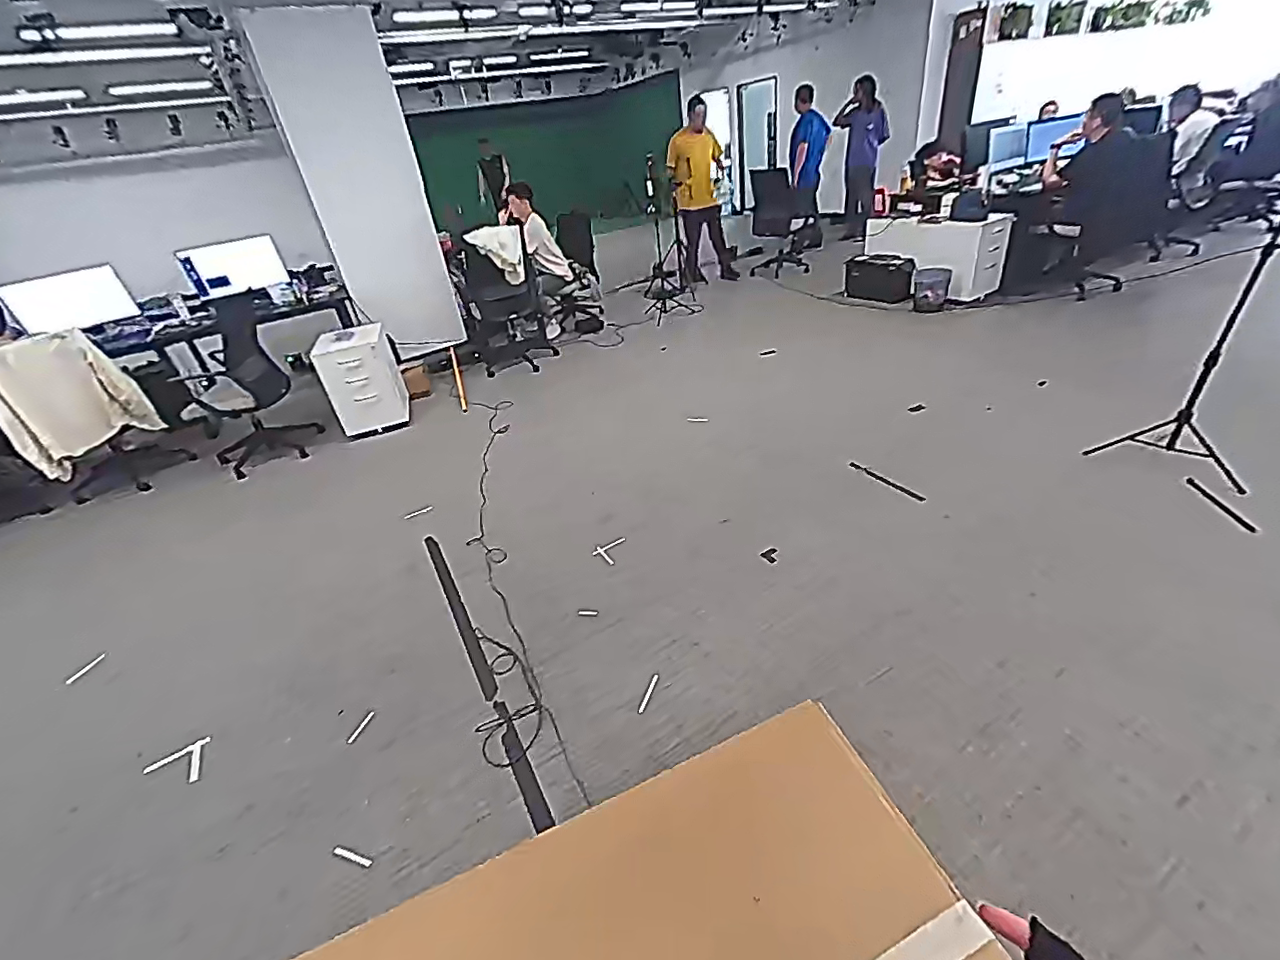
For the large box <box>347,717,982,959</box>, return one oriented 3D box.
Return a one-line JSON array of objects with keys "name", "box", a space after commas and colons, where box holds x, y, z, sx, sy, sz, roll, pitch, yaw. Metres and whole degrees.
[{"name": "large box", "box": [0.032, 0.451, 0.373, 0.408, 0.320, 0.320, -19, 41, -15]}]
